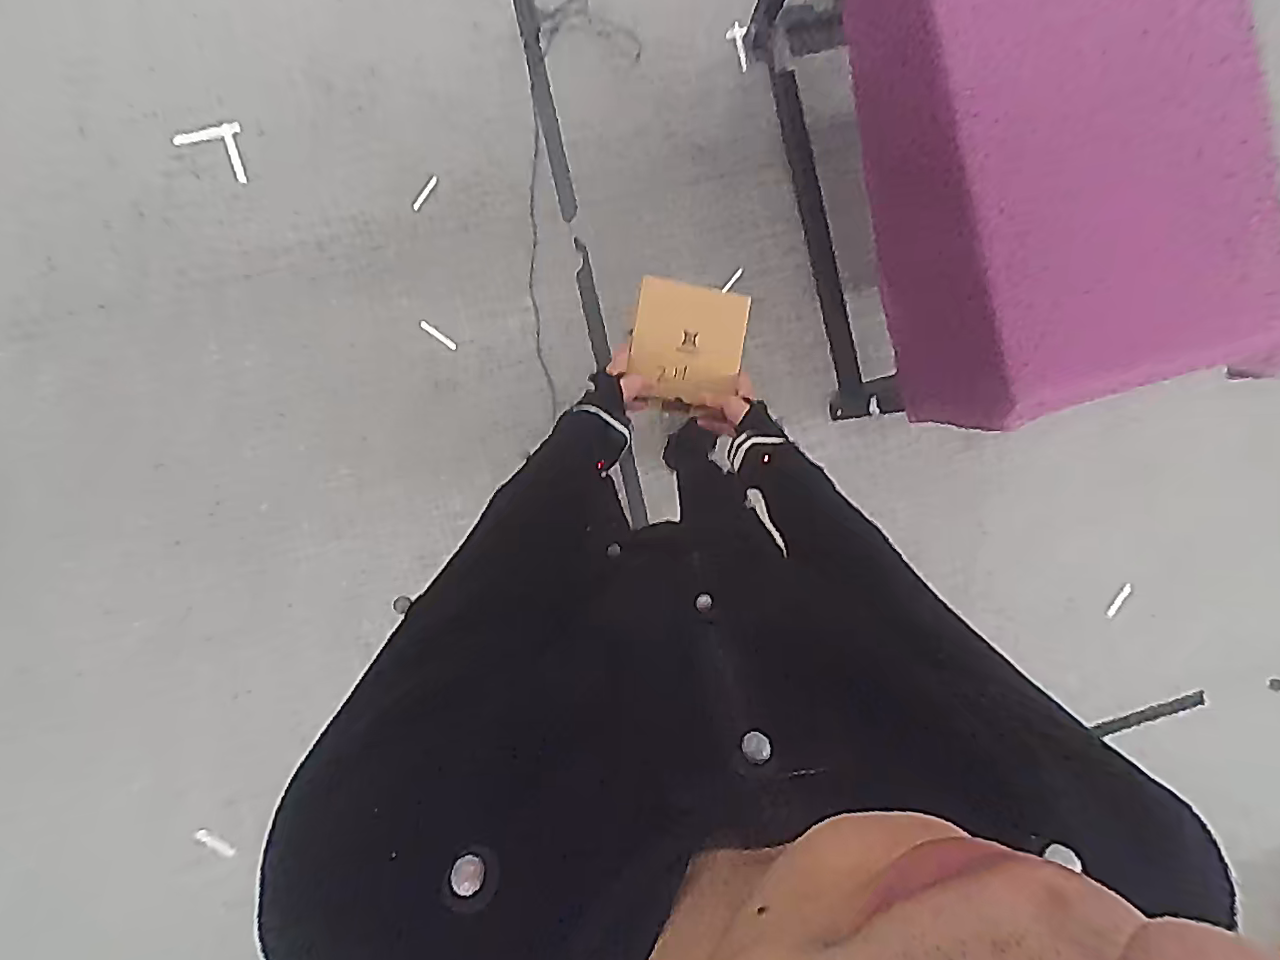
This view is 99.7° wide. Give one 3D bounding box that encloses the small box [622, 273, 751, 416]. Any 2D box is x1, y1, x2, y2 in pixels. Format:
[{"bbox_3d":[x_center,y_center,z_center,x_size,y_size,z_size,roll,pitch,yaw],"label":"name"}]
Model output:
[{"bbox_3d":[0.065,-0.208,0.879,0.168,0.176,0.179,10,92,-5],"label":"small box"}]
